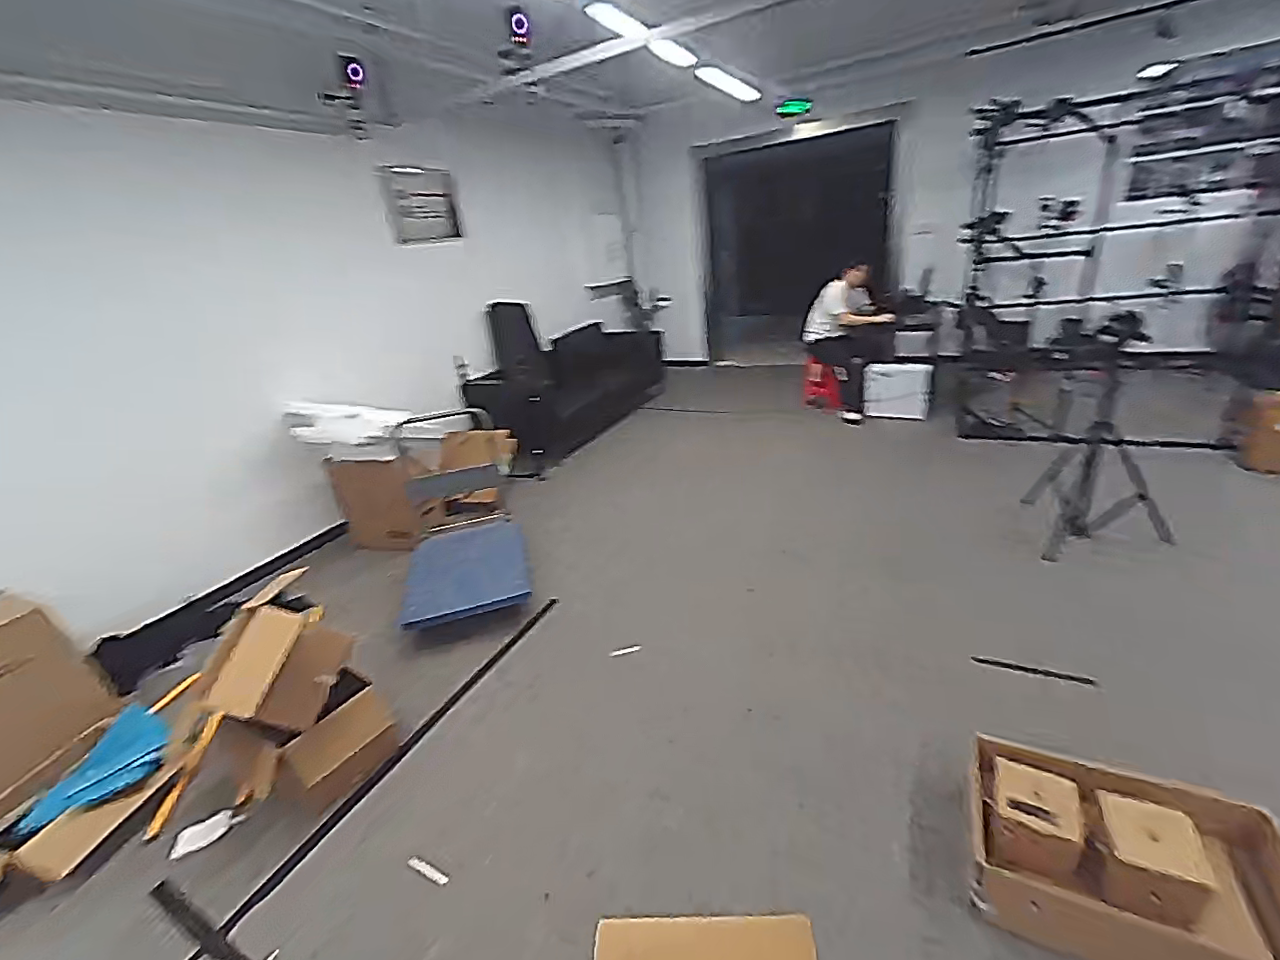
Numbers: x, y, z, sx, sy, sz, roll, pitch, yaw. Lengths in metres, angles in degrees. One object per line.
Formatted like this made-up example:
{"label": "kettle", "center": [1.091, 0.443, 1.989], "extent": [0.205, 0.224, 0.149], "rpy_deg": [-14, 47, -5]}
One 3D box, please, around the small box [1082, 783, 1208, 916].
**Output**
{"label": "small box", "center": [1.175, 0.869, 1.274], "extent": [0.168, 0.176, 0.179], "rpy_deg": [4, 27, 26]}
